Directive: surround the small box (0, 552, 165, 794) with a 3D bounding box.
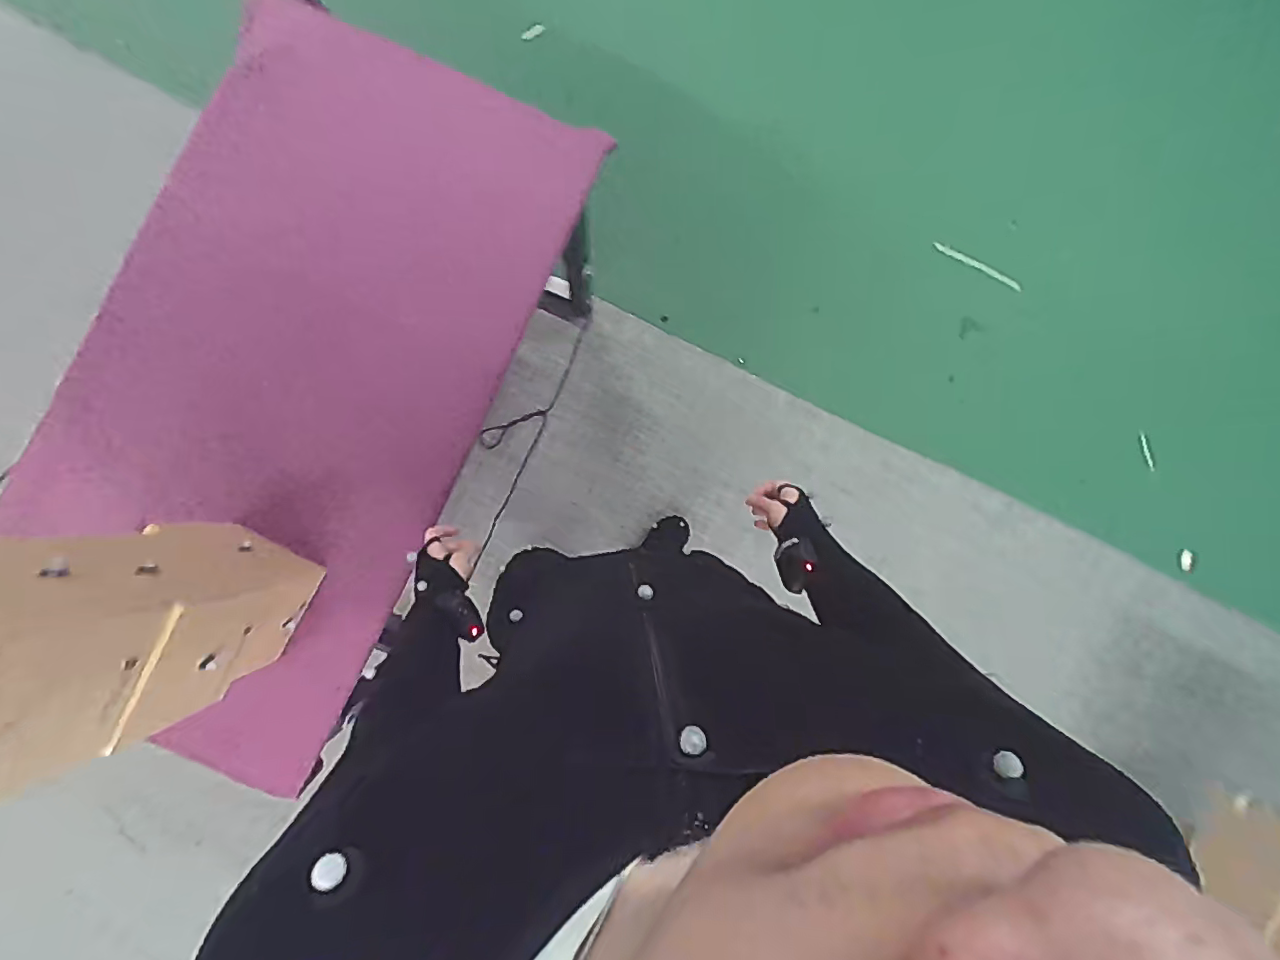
[{"bbox_3d":[-0.585,0.167,0.464,0.179,0.176,0.168,23,86,-2],"label":"small box"}]

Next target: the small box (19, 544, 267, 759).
[{"bbox_3d":[-0.589,0.180,0.628,0.179,0.176,0.168,24,85,-2],"label":"small box"}]
